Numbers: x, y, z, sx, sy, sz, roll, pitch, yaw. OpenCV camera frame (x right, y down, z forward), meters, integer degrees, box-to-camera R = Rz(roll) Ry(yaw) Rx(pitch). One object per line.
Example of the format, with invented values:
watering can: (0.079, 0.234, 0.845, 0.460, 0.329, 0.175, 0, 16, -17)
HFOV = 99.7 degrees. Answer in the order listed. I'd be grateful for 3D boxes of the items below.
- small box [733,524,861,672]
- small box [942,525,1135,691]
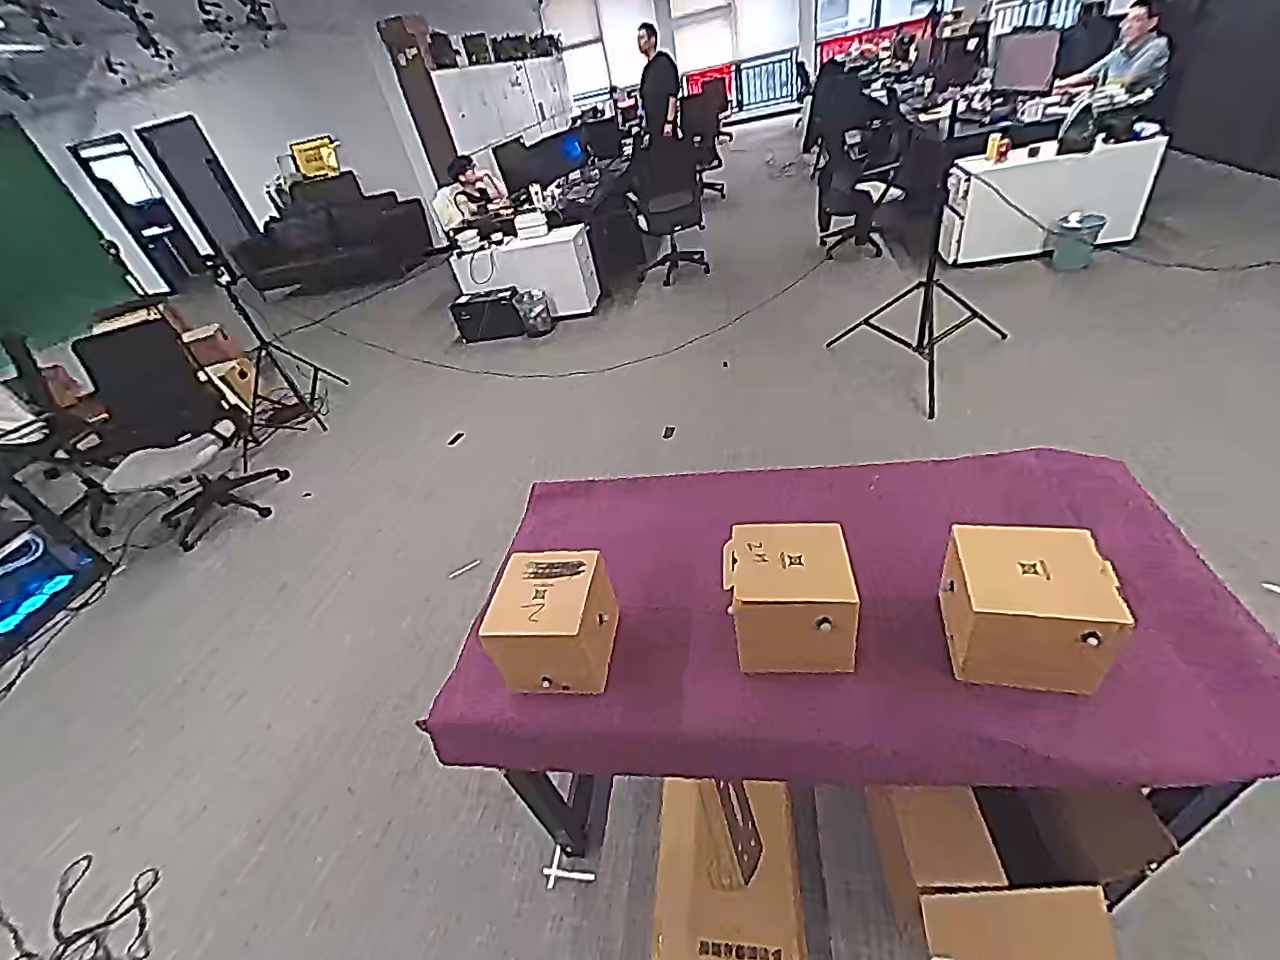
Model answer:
small box: (0.244, 0.190, 0.868, 0.179, 0.176, 0.168, -5, 36, 12)
small box: (0.550, 0.183, 0.782, 0.179, 0.176, 0.168, 0, 39, 18)
